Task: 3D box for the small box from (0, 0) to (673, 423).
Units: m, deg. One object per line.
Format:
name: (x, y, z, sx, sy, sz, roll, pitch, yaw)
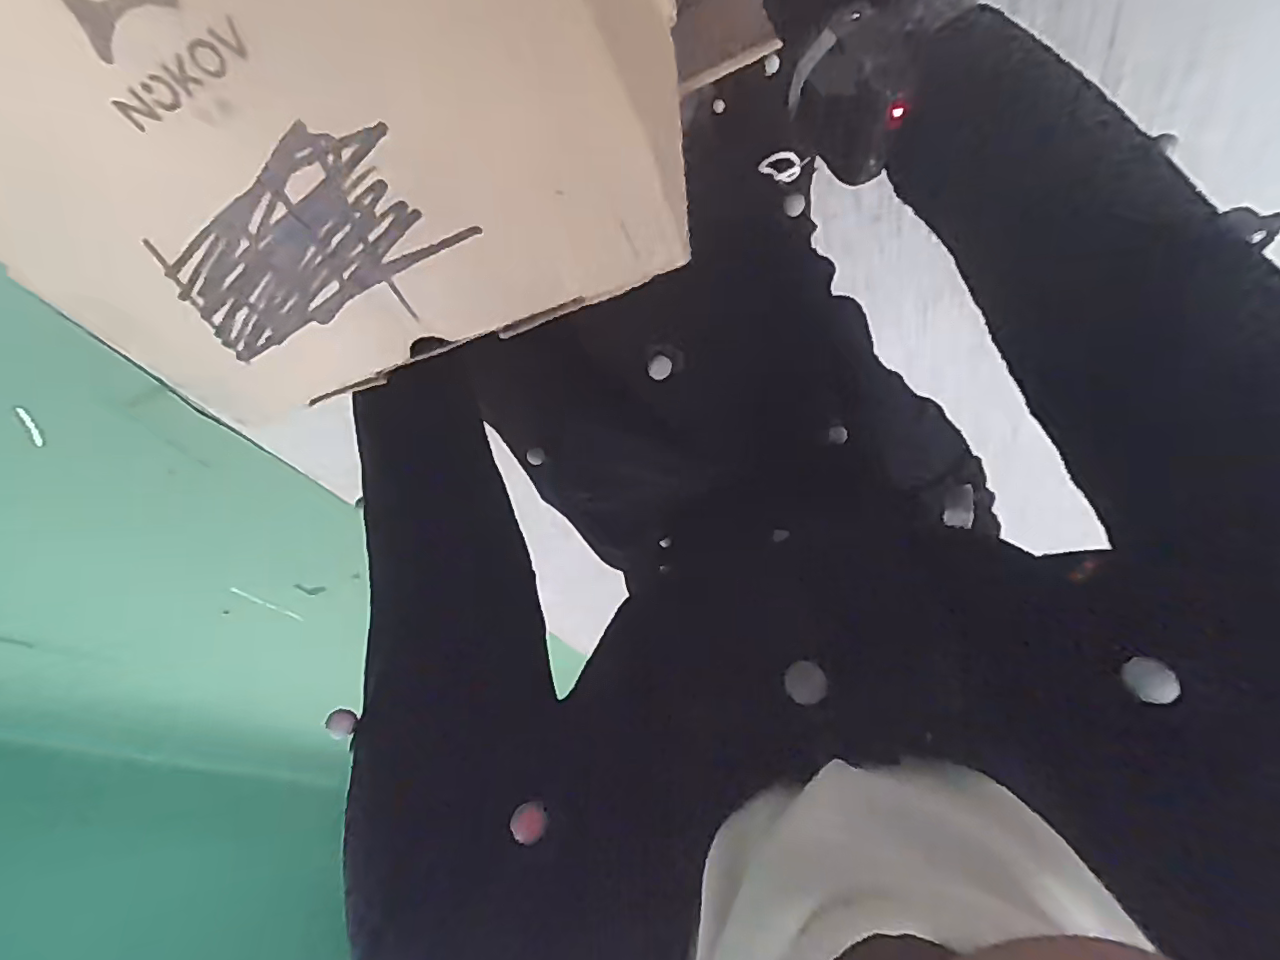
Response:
small box: (-0.094, -0.150, 0.157, 0.168, 0.176, 0.179, -14, 139, 18)
